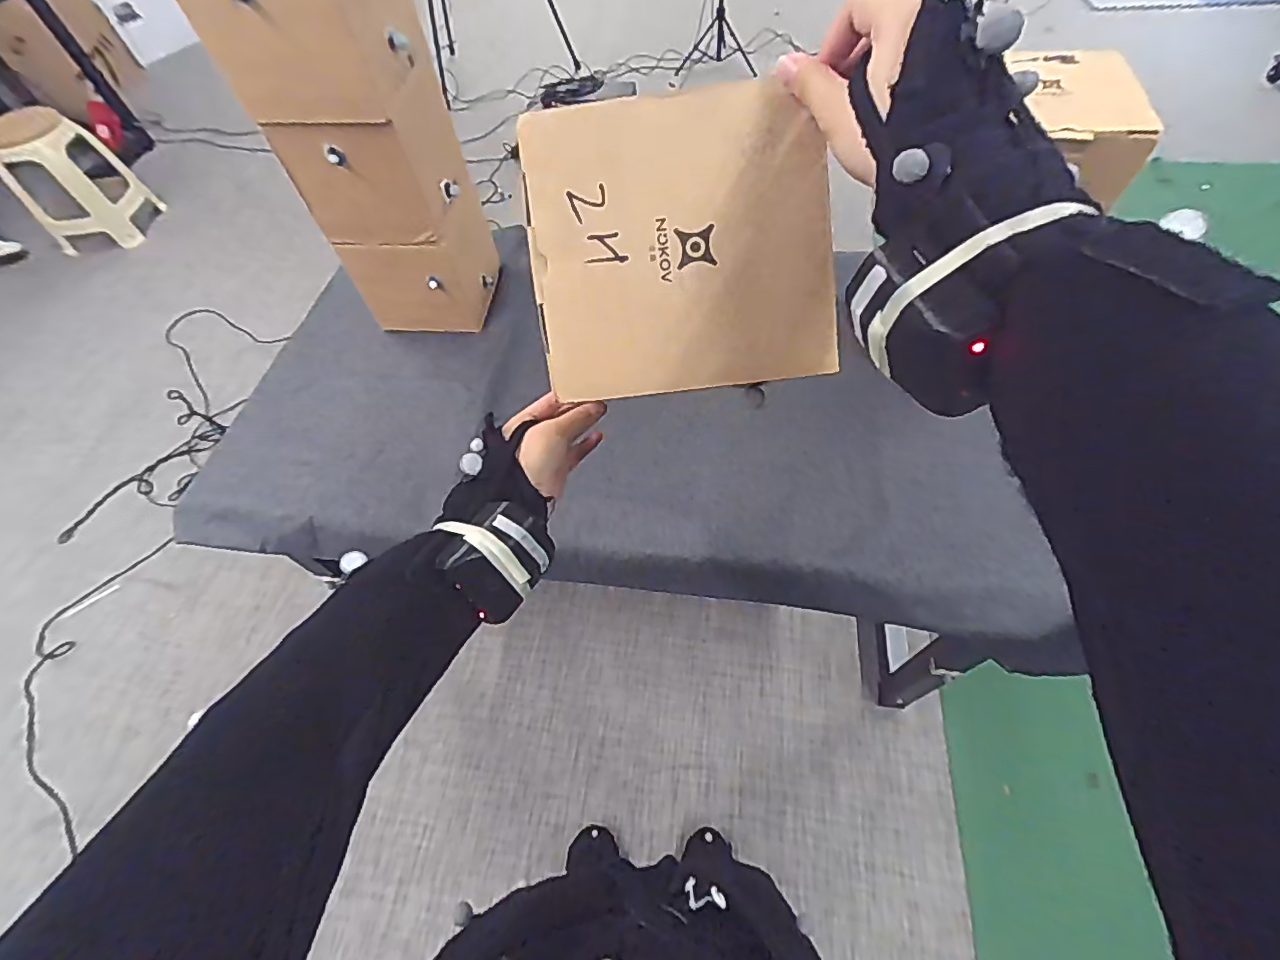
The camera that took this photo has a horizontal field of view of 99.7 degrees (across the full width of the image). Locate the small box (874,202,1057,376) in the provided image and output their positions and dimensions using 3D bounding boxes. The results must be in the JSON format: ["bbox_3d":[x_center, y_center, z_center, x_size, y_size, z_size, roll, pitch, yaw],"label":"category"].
[{"bbox_3d":[0.442,-0.275,0.770,0.168,0.176,0.179,7,60,9],"label":"small box"}]

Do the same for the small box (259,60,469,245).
[{"bbox_3d":[-0.361,-0.447,0.747,0.179,0.176,0.168,3,60,4],"label":"small box"}]

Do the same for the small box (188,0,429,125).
[{"bbox_3d":[-0.368,-0.524,0.602,0.179,0.176,0.168,4,60,5],"label":"small box"}]

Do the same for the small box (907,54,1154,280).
[{"bbox_3d":[0.426,-0.357,0.629,0.168,0.176,0.179,8,61,9],"label":"small box"}]

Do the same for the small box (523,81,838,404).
[{"bbox_3d":[0.028,-0.147,0.394,0.179,0.176,0.168,-5,98,3],"label":"small box"}]
